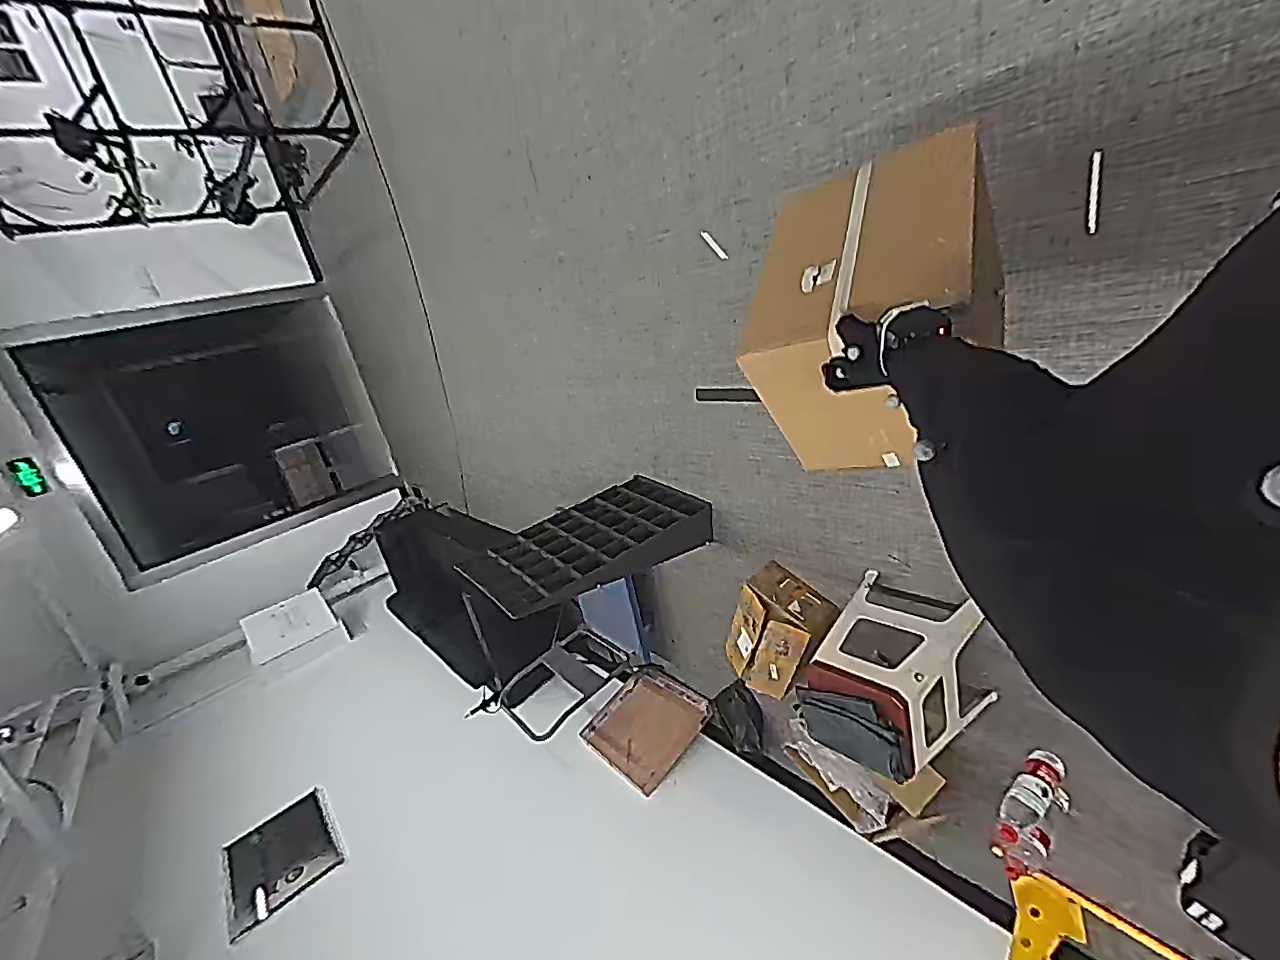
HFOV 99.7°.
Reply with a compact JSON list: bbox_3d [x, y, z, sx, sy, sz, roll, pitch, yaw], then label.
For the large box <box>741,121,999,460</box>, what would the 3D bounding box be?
[{"bbox_3d":[0.410,-0.289,0.915,0.320,0.408,0.320,-4,146,40],"label":"large box"}]
